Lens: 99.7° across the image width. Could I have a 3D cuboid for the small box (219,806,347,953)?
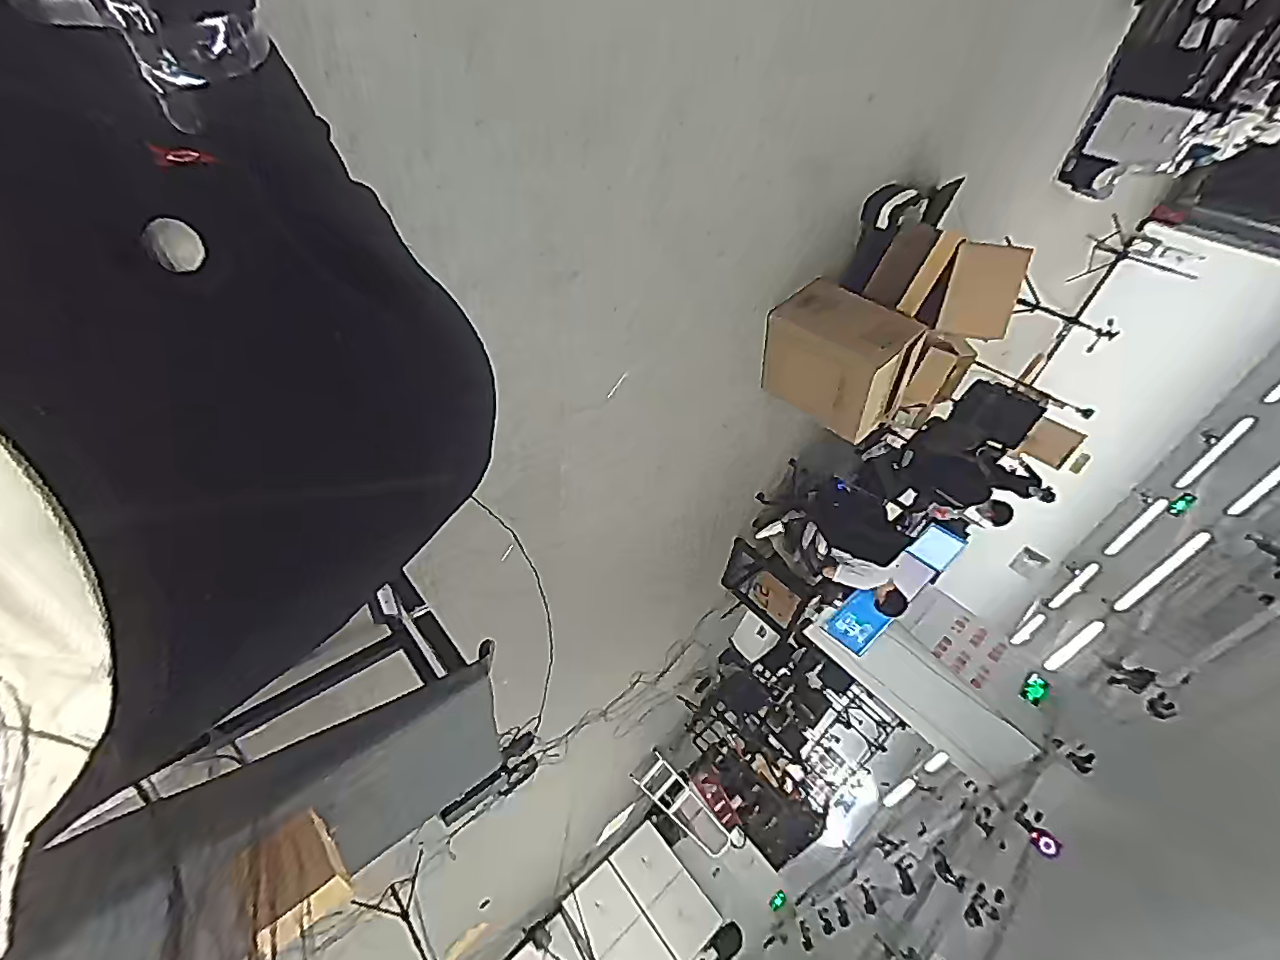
[{"bbox_3d":[-0.775,0.860,1.171,0.179,0.176,0.168,-29,146,-34],"label":"small box"}]
